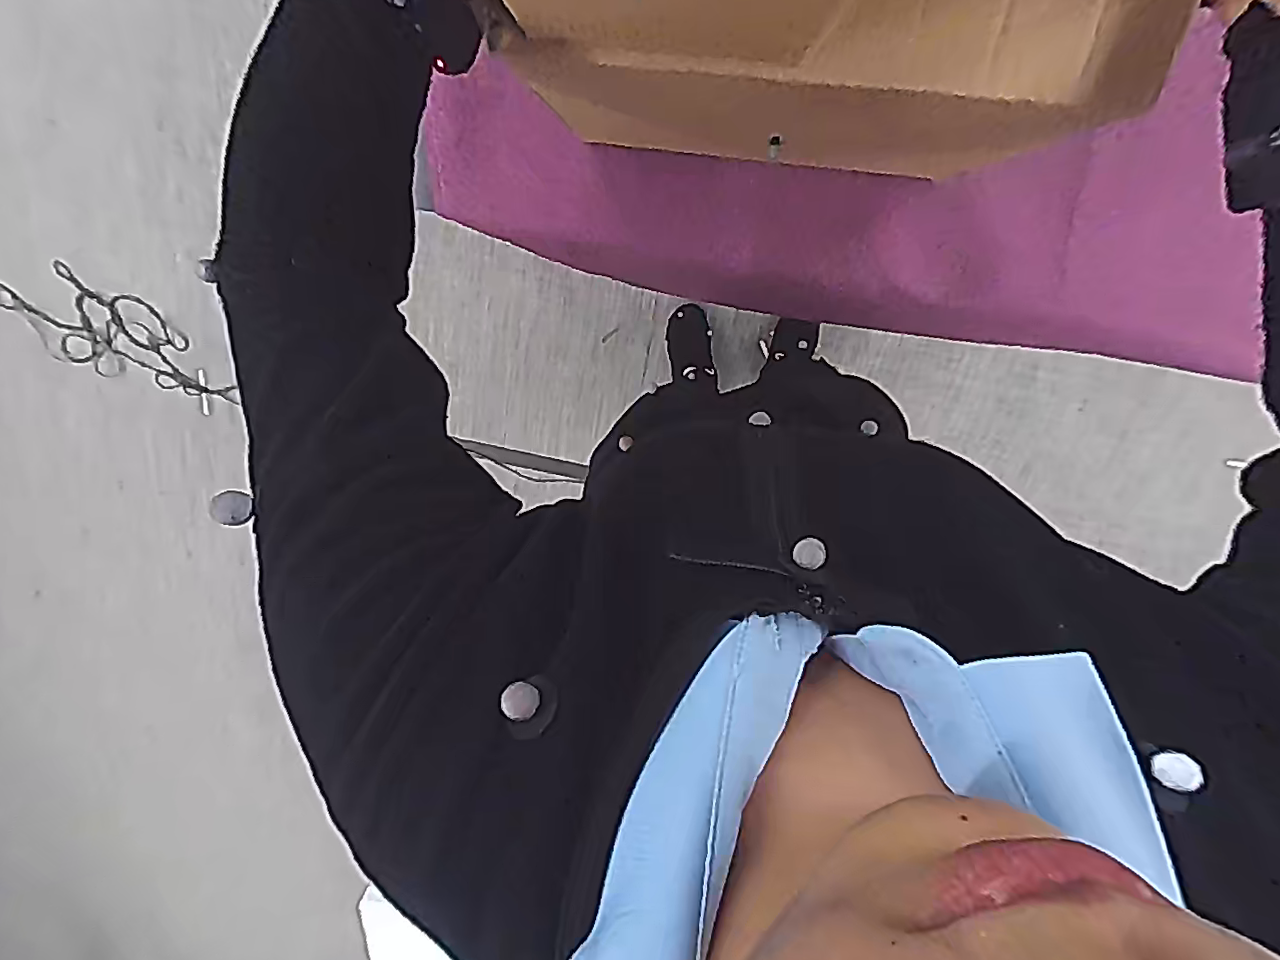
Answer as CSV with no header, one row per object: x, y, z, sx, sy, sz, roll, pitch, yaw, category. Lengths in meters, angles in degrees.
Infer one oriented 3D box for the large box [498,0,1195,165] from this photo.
0.137,-0.443,0.406,0.408,0.320,0.320,7,112,4,large box
